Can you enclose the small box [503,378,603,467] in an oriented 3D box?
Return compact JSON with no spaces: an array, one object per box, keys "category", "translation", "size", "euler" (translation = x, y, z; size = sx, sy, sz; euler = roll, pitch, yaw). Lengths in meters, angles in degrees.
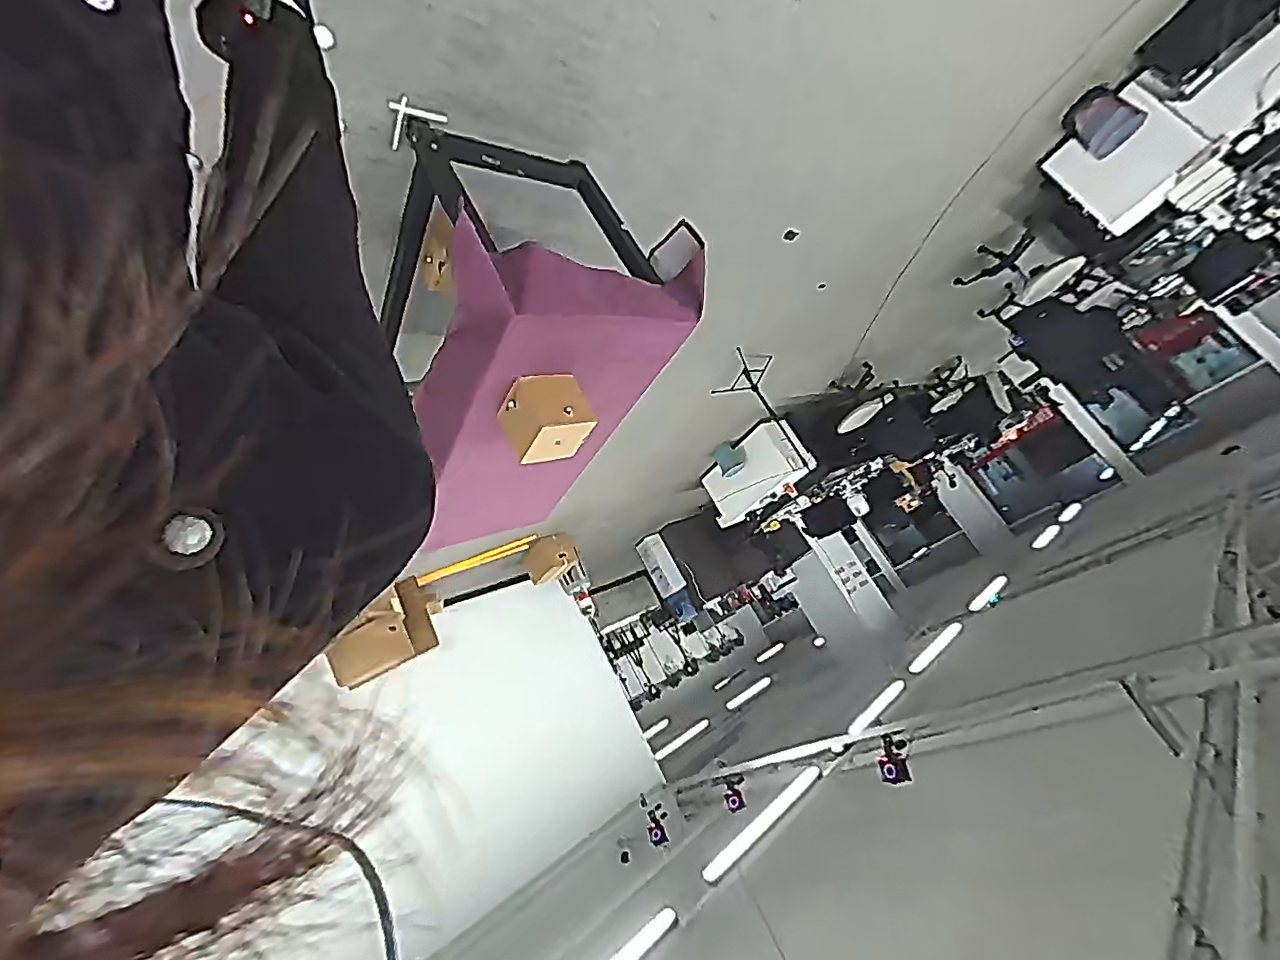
[{"category":"small box","translation":[-0.237,-0.159,1.442],"size":[0.179,0.176,0.168],"euler":[-12,155,-42]}]
